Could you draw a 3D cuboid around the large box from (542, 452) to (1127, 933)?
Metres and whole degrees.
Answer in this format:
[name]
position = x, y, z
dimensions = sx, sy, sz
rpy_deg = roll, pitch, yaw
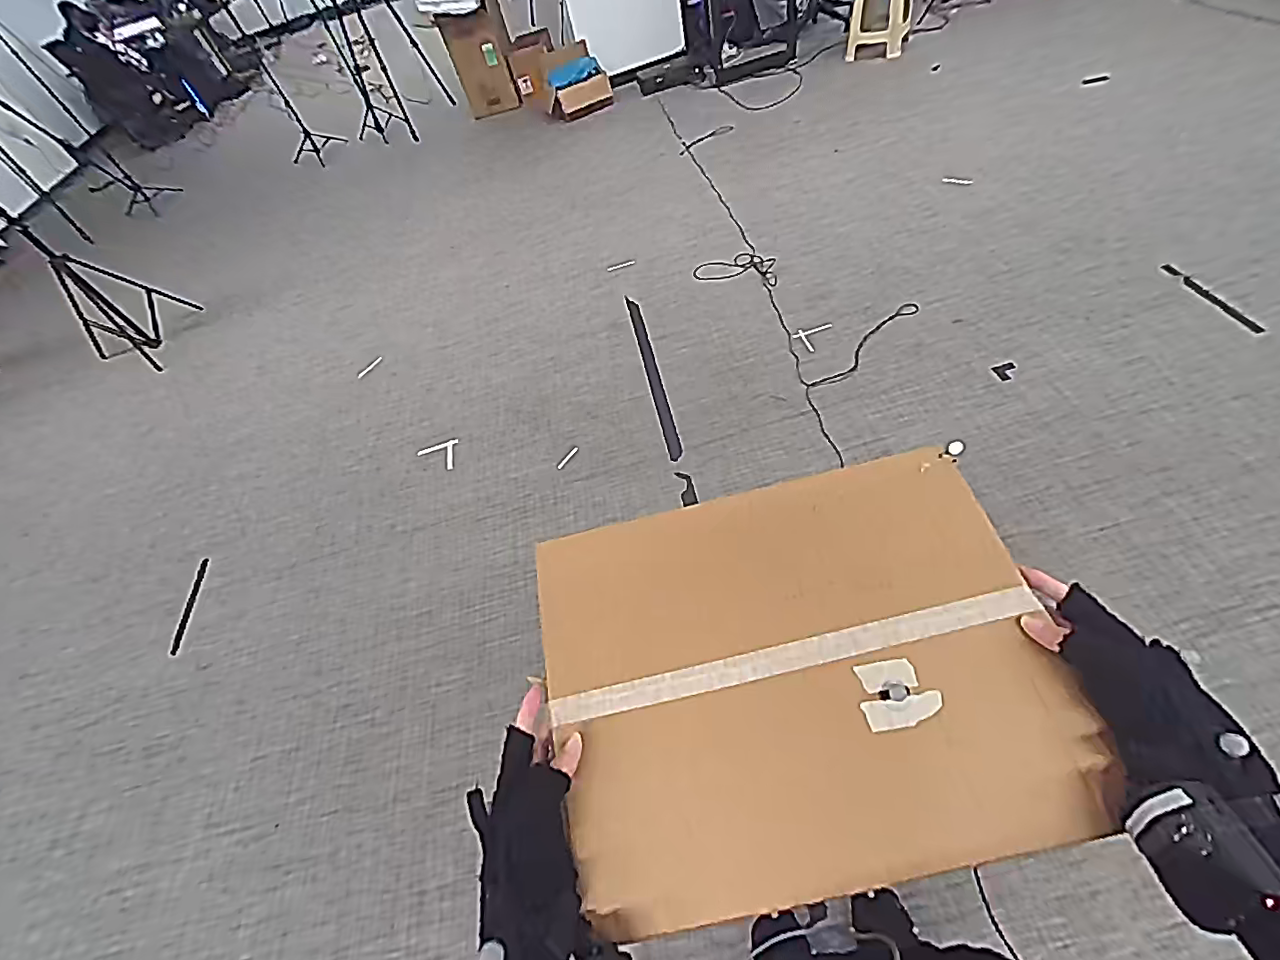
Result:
[large box]
position = 0.143, 0.222, 0.586
dimensions = 0.408, 0.320, 0.320
rpy_deg = -14, 59, 1
